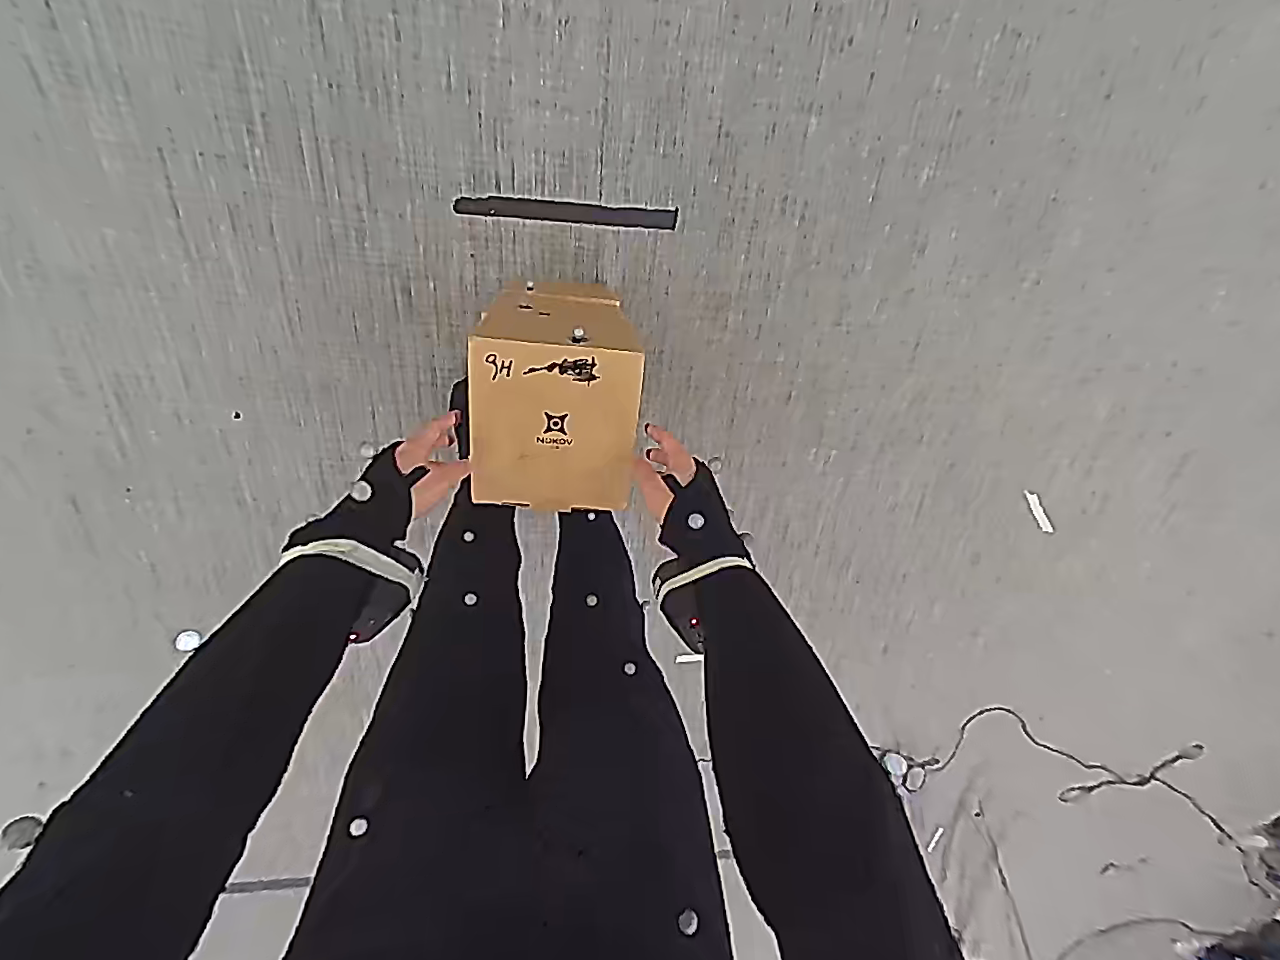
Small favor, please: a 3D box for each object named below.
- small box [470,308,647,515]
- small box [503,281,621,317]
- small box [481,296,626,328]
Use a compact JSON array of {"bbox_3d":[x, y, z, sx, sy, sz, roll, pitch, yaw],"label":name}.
[{"bbox_3d":[-0.092,-0.081,0.605,0.168,0.176,0.179,3,117,-9],"label":"small box"},{"bbox_3d":[-0.131,-0.229,0.895,0.179,0.176,0.168,2,117,-8],"label":"small box"},{"bbox_3d":[-0.119,-0.152,0.750,0.179,0.176,0.168,4,117,-9],"label":"small box"}]
